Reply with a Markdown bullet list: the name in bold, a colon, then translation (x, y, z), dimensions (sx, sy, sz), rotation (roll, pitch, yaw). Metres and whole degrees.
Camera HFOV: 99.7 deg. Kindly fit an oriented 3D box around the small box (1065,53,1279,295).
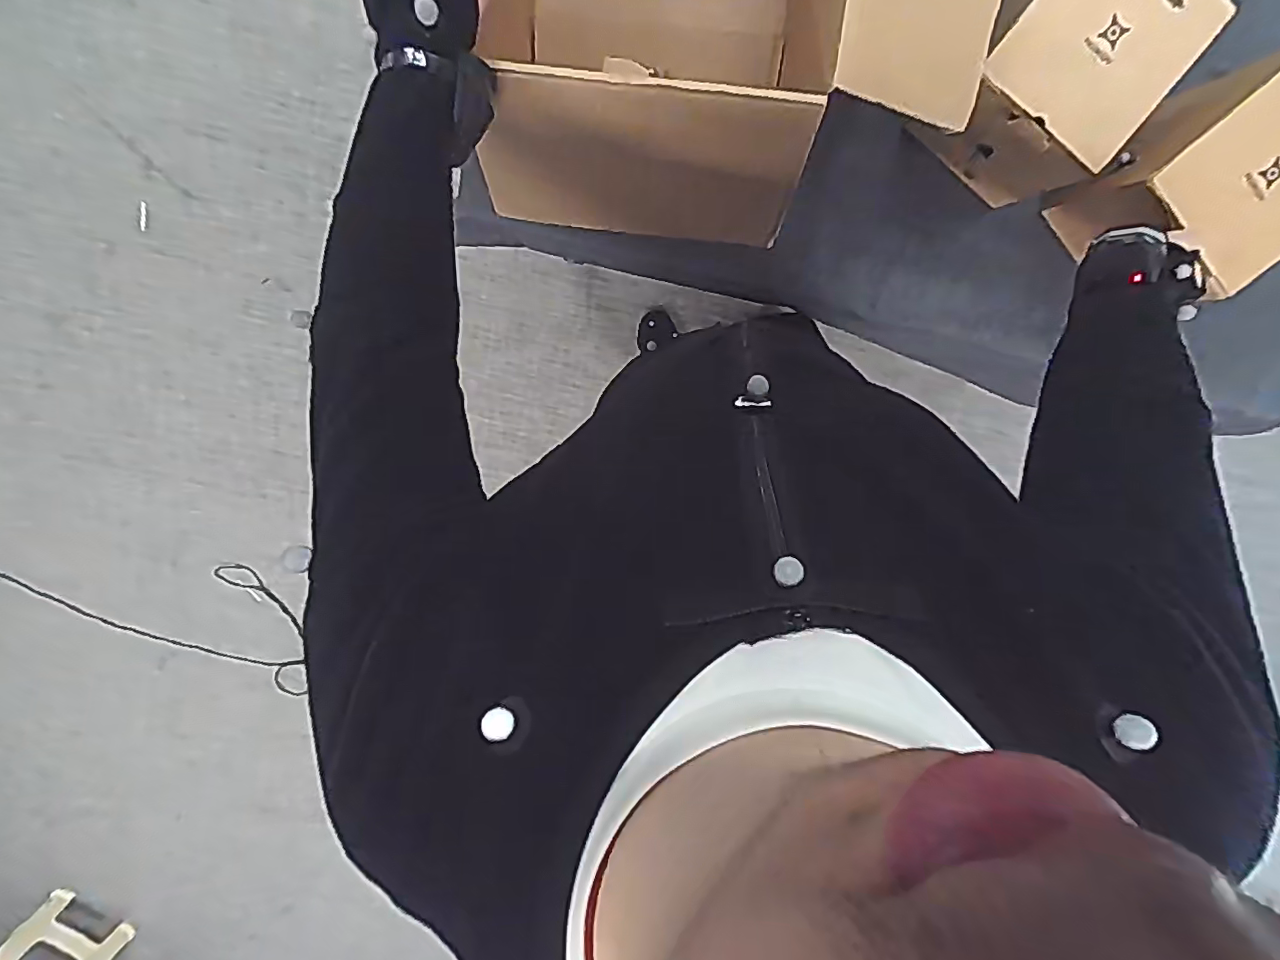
- **small box**: translation (0.645, -0.333, 0.622), dimensions (0.168, 0.176, 0.179), rotation (44, 103, -11)
